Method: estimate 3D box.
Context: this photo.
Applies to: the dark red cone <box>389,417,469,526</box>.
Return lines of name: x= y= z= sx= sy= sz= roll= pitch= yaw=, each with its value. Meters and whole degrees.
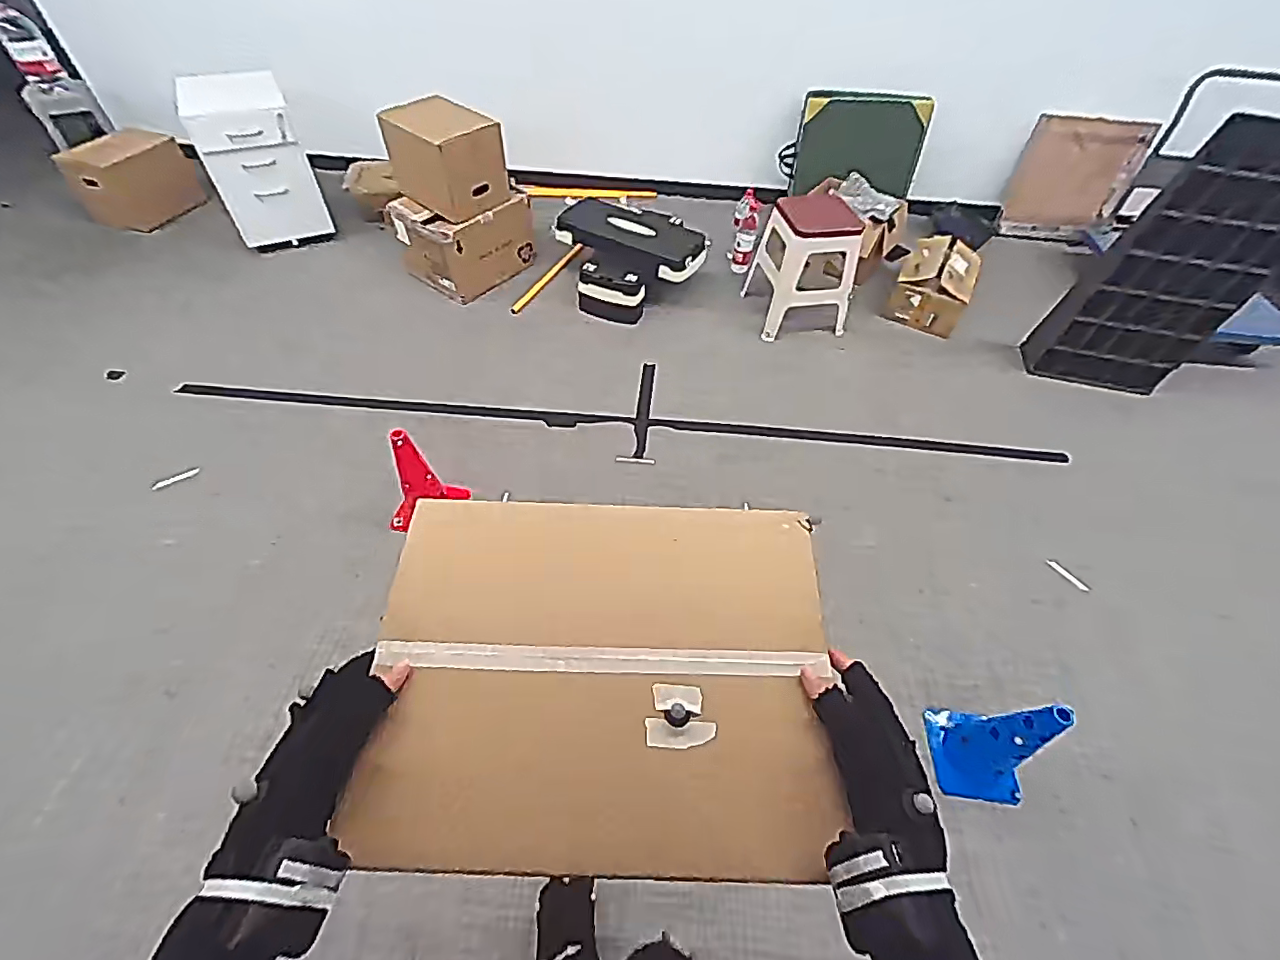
dark red cone: x=-0.658 y=-0.034 z=1.595 sx=0.201 sy=0.394 sz=0.202 roll=11 pitch=52 yaw=4

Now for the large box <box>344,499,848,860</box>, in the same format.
large box: x=-0.035 y=0.235 z=0.622 sx=0.408 sy=0.320 sz=0.320 roll=3 pitch=59 yaw=0

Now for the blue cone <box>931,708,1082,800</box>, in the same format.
blue cone: x=0.849 y=0.590 z=1.233 sx=0.192 sy=0.380 sz=0.193 roll=9 pitch=52 yaw=2
